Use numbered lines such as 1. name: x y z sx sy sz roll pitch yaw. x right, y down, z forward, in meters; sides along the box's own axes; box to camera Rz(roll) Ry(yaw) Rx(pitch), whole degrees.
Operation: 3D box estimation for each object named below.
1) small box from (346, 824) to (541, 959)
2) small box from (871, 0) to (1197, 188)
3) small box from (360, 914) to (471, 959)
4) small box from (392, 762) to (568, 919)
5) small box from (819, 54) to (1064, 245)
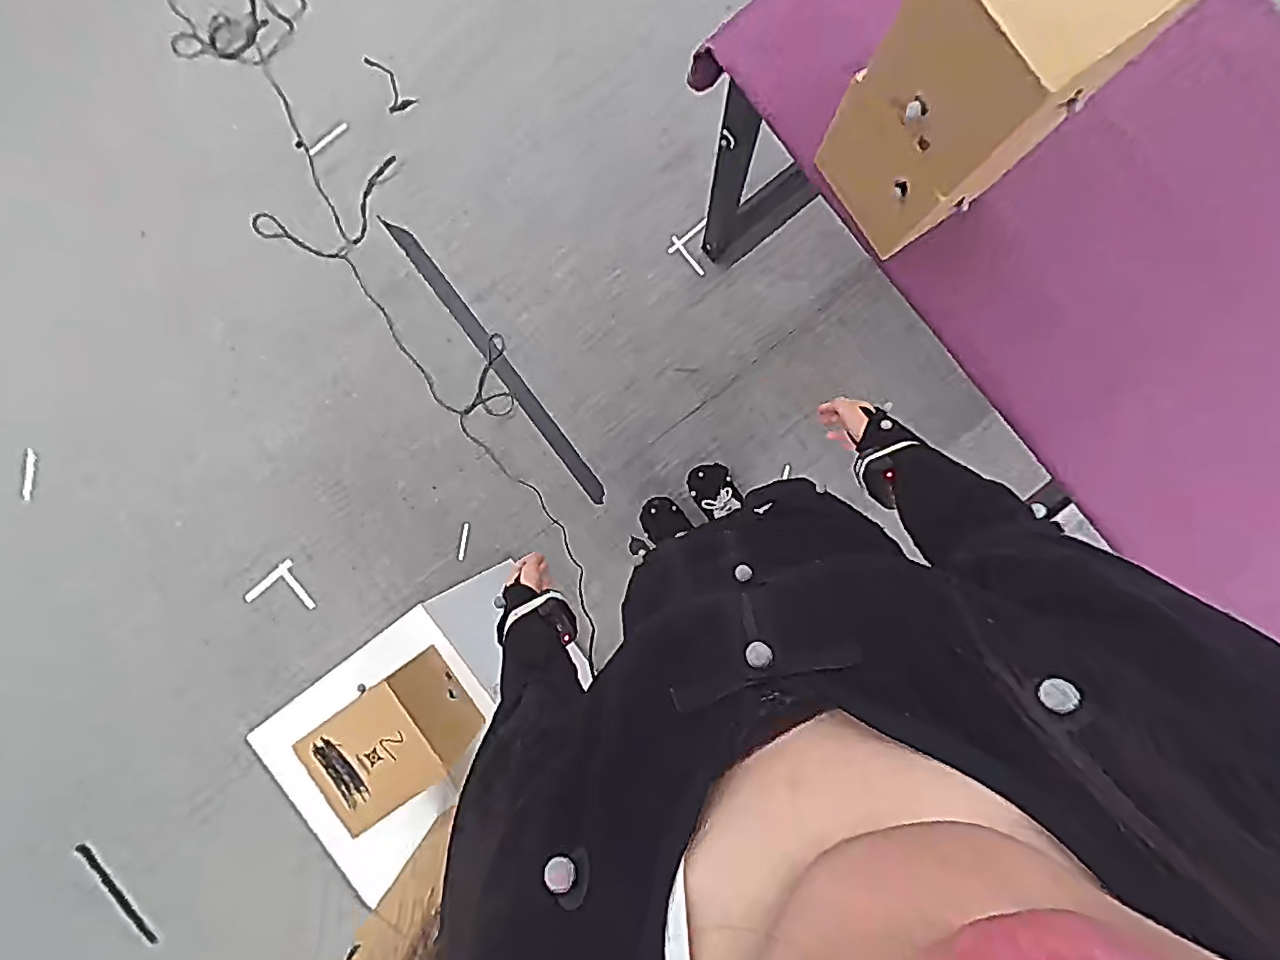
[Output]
1. small box: -0.244 0.591 0.685 0.179 0.176 0.168 -39 88 3
2. small box: 0.359 -0.427 0.511 0.179 0.176 0.168 -35 89 3
3. small box: -0.254 0.592 0.522 0.179 0.176 0.168 -39 89 2
4. small box: -0.236 0.592 0.848 0.179 0.176 0.168 -37 88 3
5. small box: 0.357 -0.426 0.676 0.168 0.176 0.179 -34 89 2
